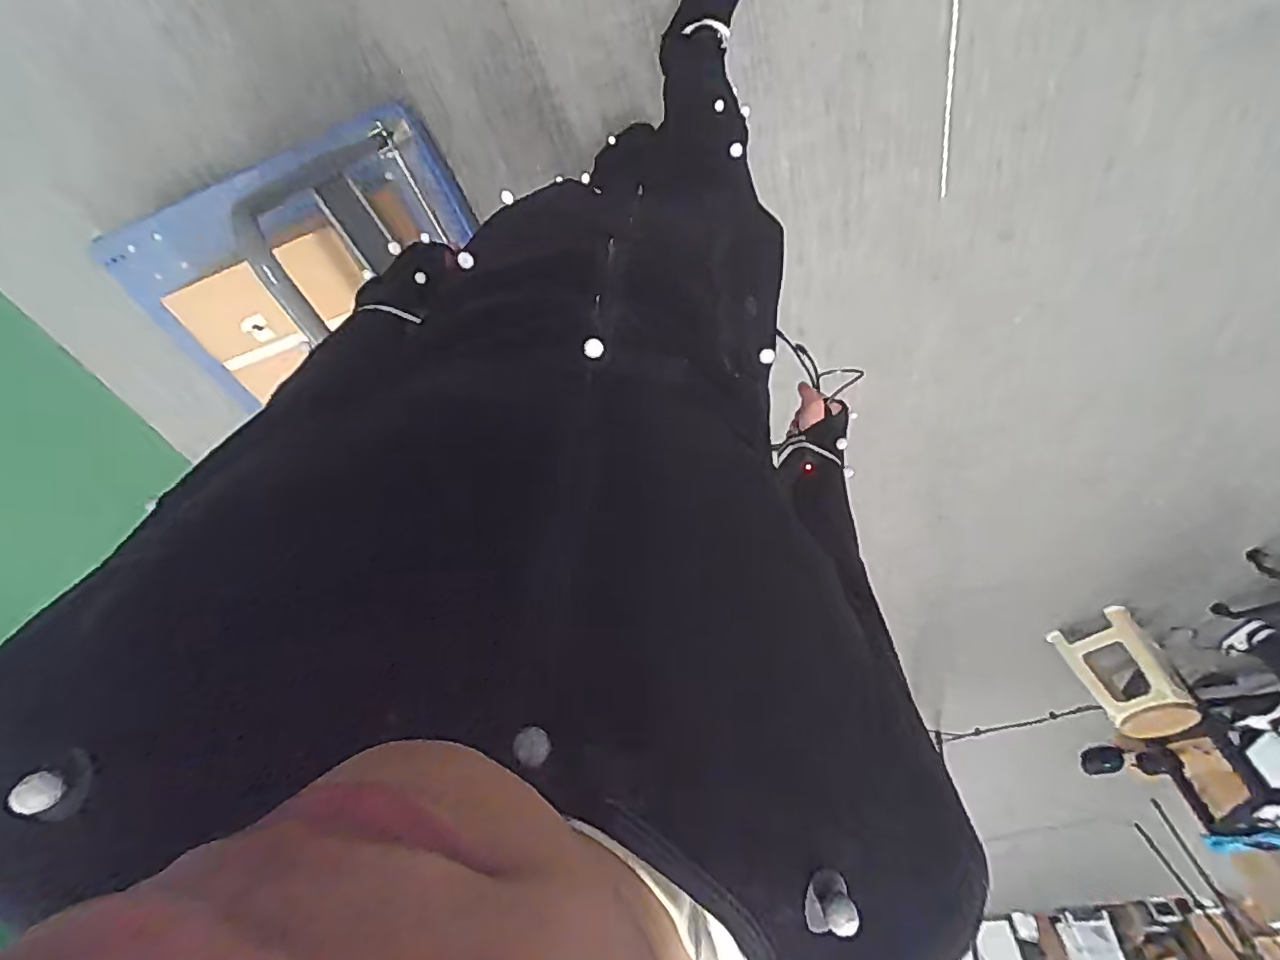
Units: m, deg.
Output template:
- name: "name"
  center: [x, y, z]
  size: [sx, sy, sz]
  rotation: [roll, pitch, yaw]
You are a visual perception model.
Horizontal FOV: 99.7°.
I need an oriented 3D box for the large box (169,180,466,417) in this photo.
- name: "large box"
  center: [-0.665, -0.395, 1.190]
  size: [0.408, 0.320, 0.320]
  rotation: [-14, 130, 13]
